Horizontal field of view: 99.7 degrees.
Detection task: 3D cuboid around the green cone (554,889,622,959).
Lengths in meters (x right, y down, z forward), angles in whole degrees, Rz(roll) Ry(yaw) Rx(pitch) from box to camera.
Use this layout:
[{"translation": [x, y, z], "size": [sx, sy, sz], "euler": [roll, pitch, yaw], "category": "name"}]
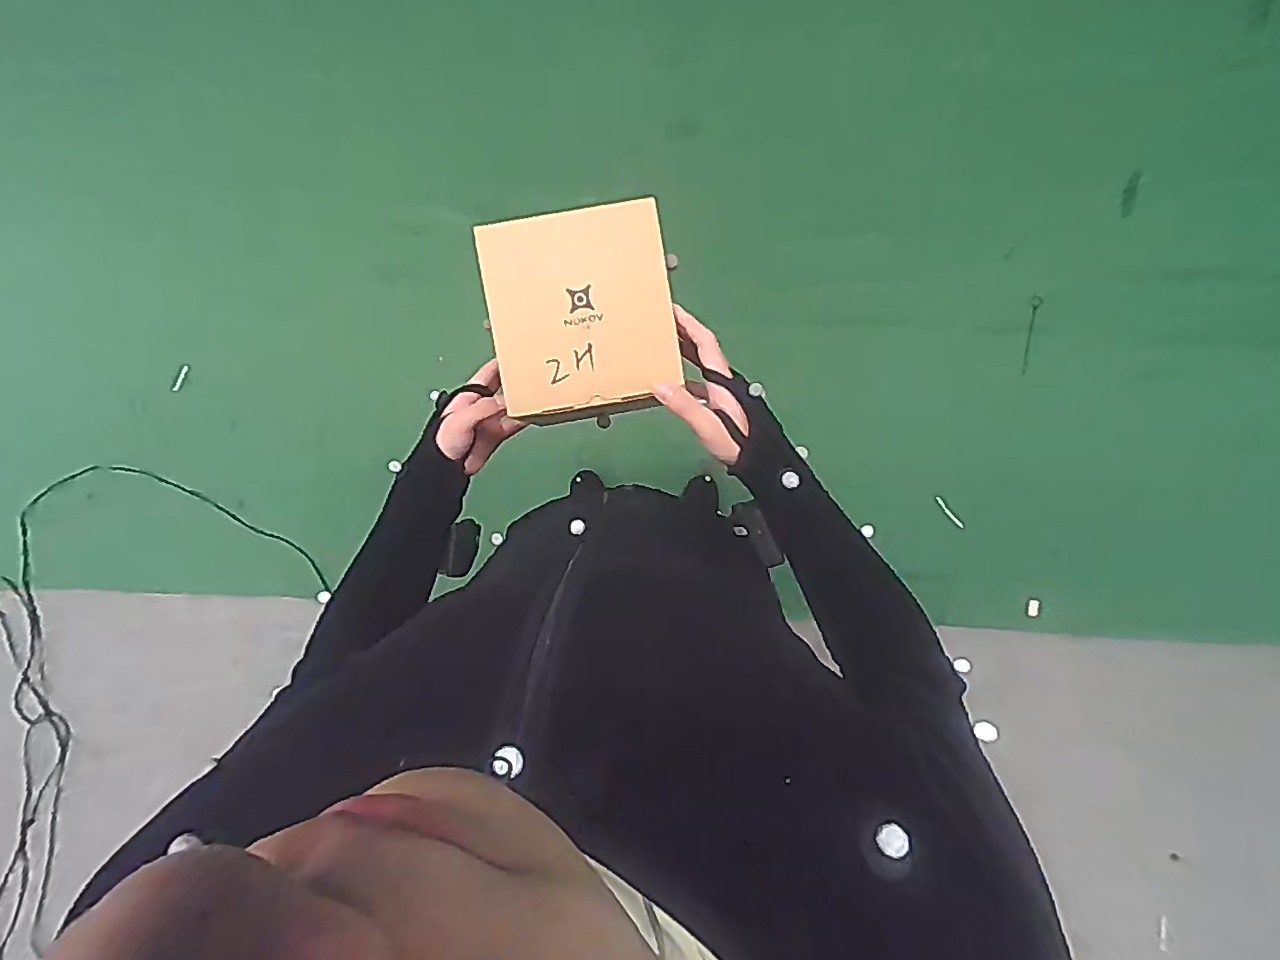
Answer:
[{"translation": [-0.168, 1.351, 1.470], "size": [0.202, 0.368, 0.200], "euler": [3, 91, 3], "category": "green cone"}]
